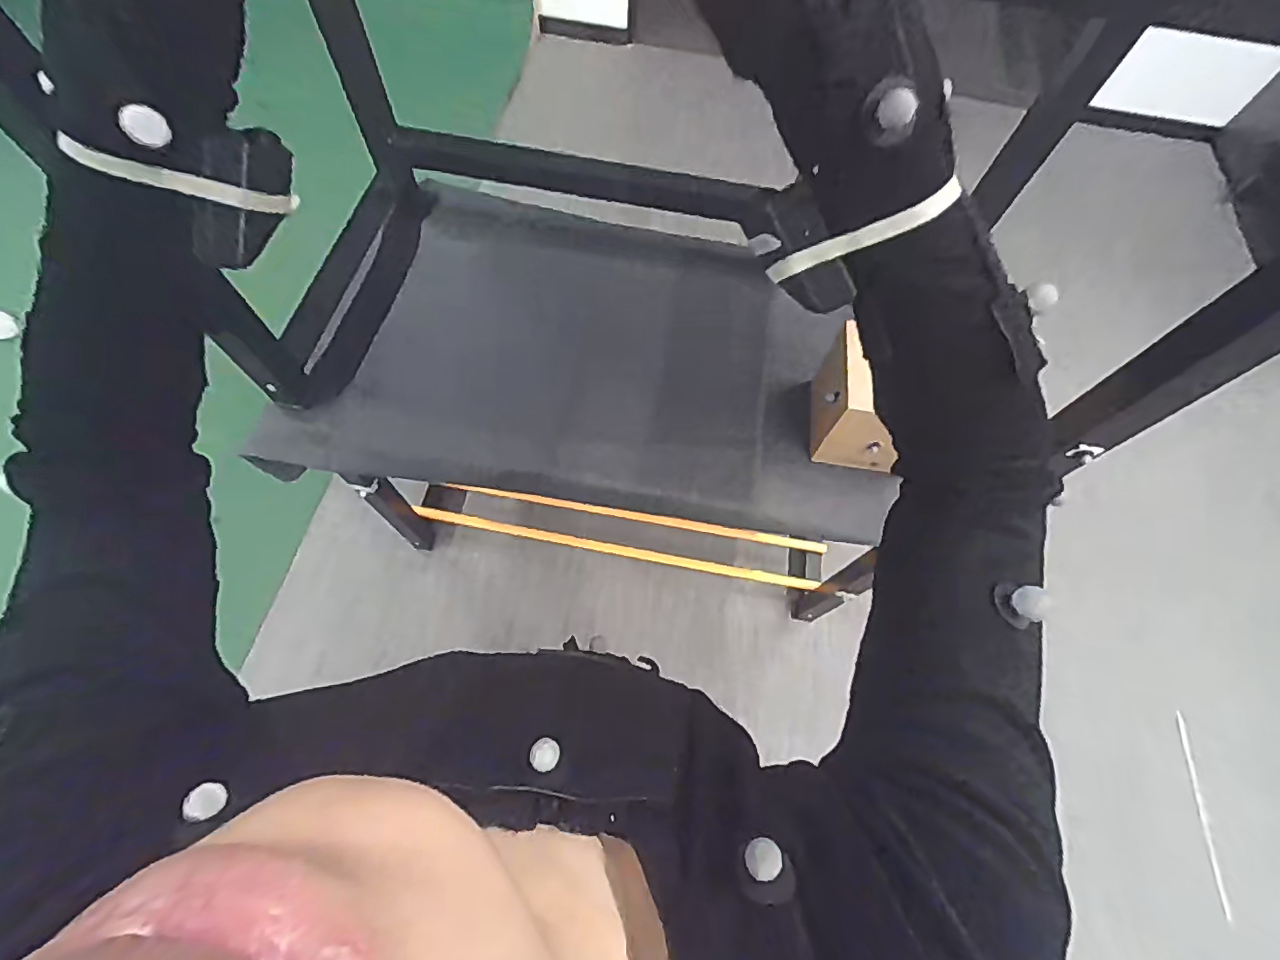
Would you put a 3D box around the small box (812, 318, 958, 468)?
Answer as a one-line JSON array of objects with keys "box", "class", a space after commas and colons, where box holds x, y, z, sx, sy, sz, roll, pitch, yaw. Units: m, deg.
[{"box": [0.397, -0.137, 0.904, 0.168, 0.176, 0.179, 9, 64, 0], "class": "small box"}]
